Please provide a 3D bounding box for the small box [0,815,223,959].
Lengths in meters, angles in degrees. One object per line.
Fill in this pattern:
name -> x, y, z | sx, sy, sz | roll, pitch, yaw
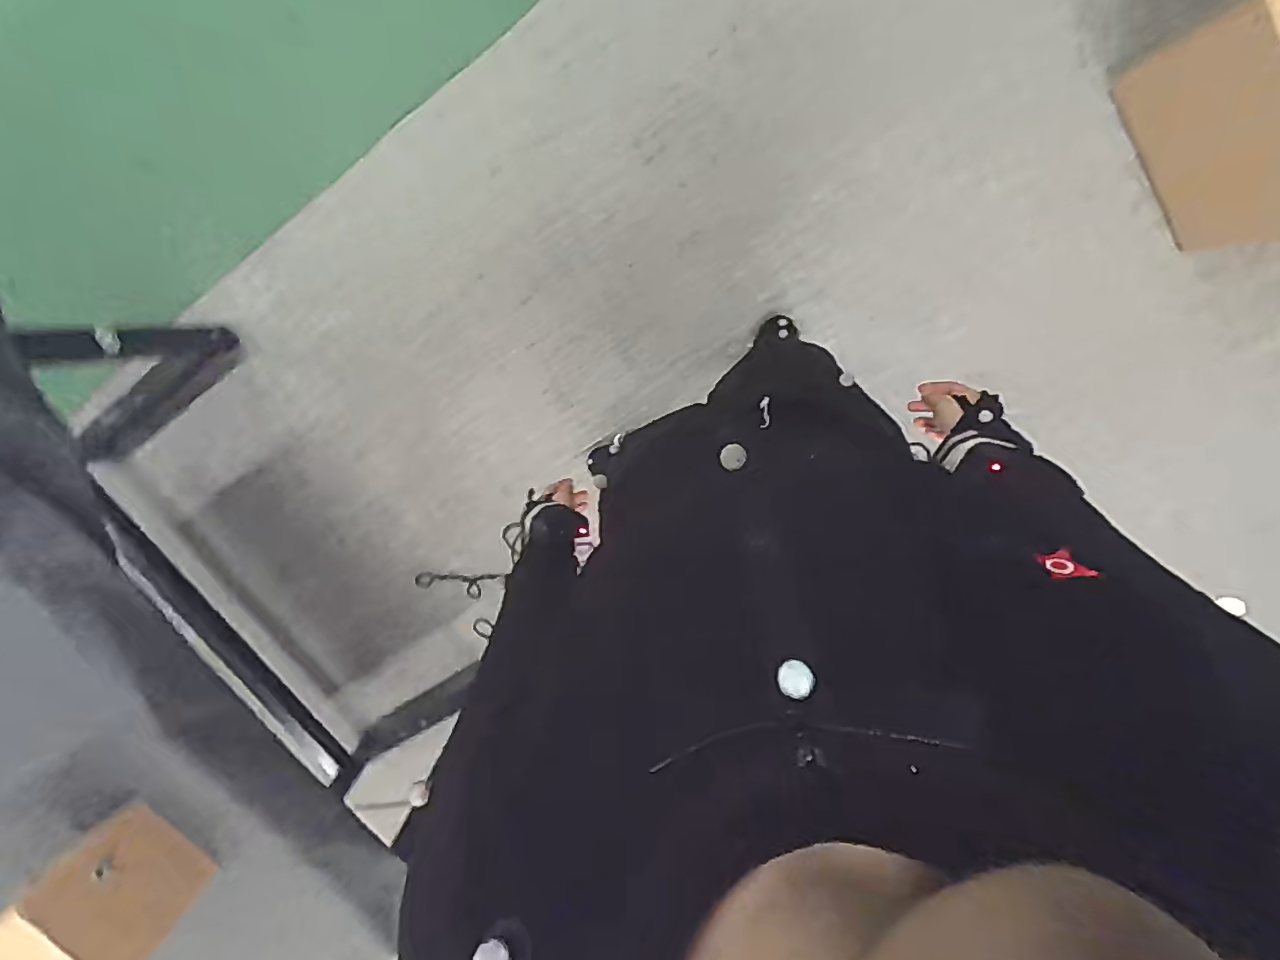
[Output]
small box -> -0.766, 0.617, 0.770 | 0.168, 0.176, 0.179 | -36, 101, 14

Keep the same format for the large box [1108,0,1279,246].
large box -> 1.156, -0.689, 0.942 | 0.320, 0.320, 0.408 | -35, 102, 13
